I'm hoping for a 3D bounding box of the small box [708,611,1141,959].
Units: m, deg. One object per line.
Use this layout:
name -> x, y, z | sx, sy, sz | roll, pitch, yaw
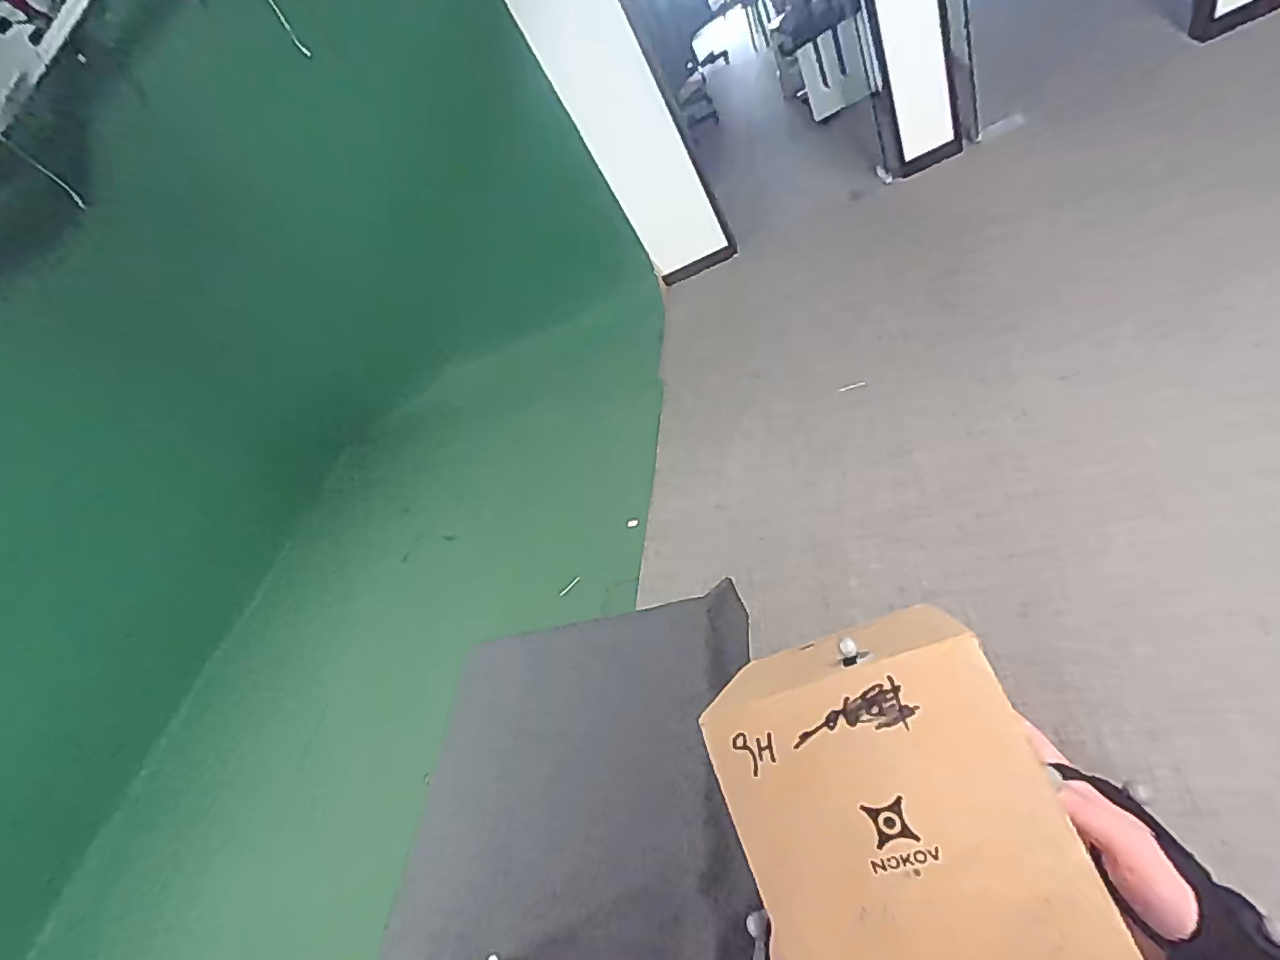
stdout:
small box -> 0.169, 0.203, 0.363 | 0.168, 0.176, 0.179 | -25, 75, 16
